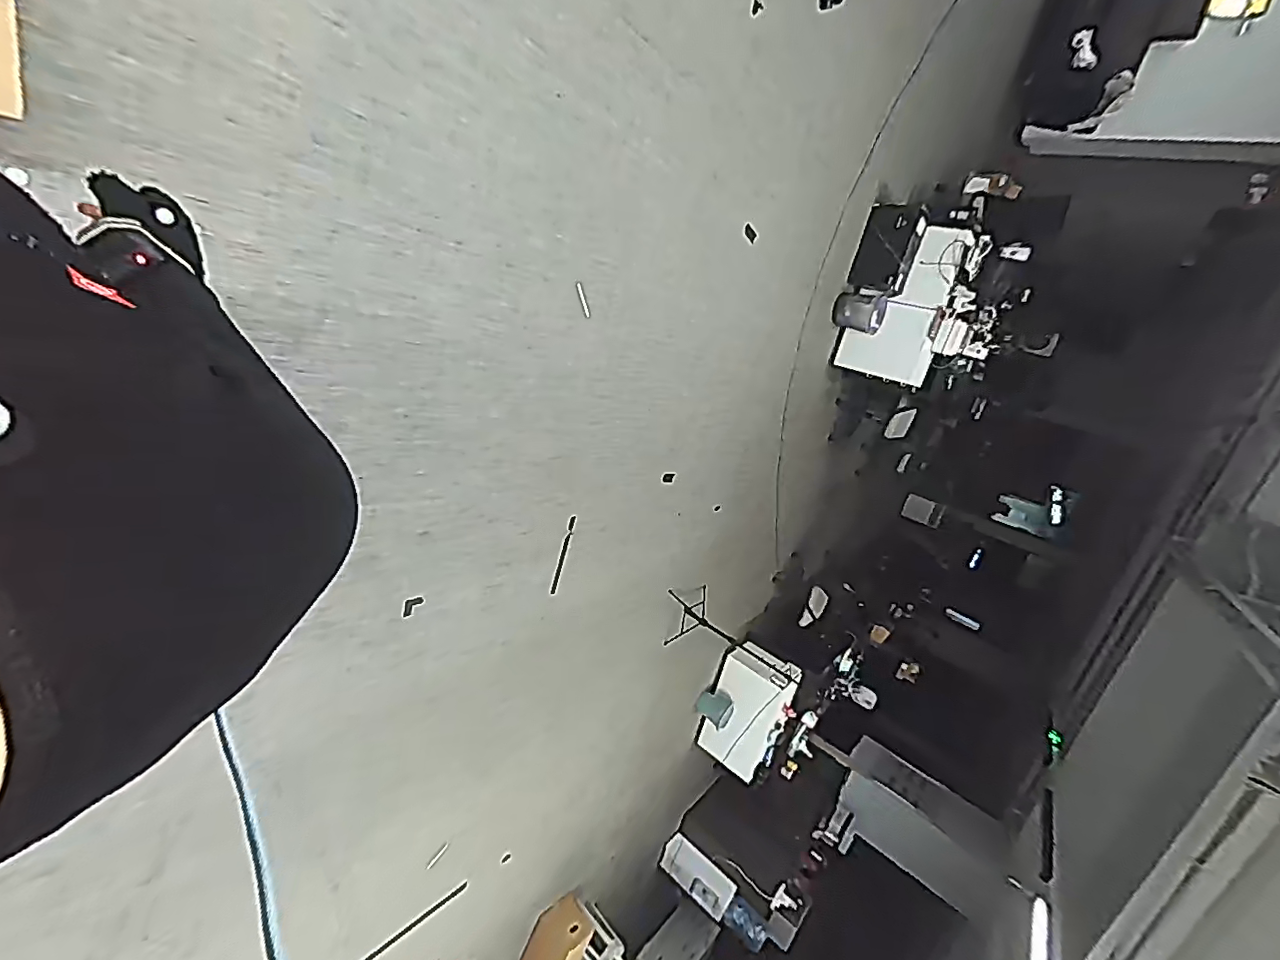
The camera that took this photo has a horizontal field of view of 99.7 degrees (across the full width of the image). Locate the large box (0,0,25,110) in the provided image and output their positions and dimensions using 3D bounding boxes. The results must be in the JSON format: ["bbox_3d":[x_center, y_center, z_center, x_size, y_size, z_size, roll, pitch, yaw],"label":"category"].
[{"bbox_3d":[-1.023,-0.664,0.600,0.408,0.320,0.320,-10,119,-52],"label":"large box"}]
